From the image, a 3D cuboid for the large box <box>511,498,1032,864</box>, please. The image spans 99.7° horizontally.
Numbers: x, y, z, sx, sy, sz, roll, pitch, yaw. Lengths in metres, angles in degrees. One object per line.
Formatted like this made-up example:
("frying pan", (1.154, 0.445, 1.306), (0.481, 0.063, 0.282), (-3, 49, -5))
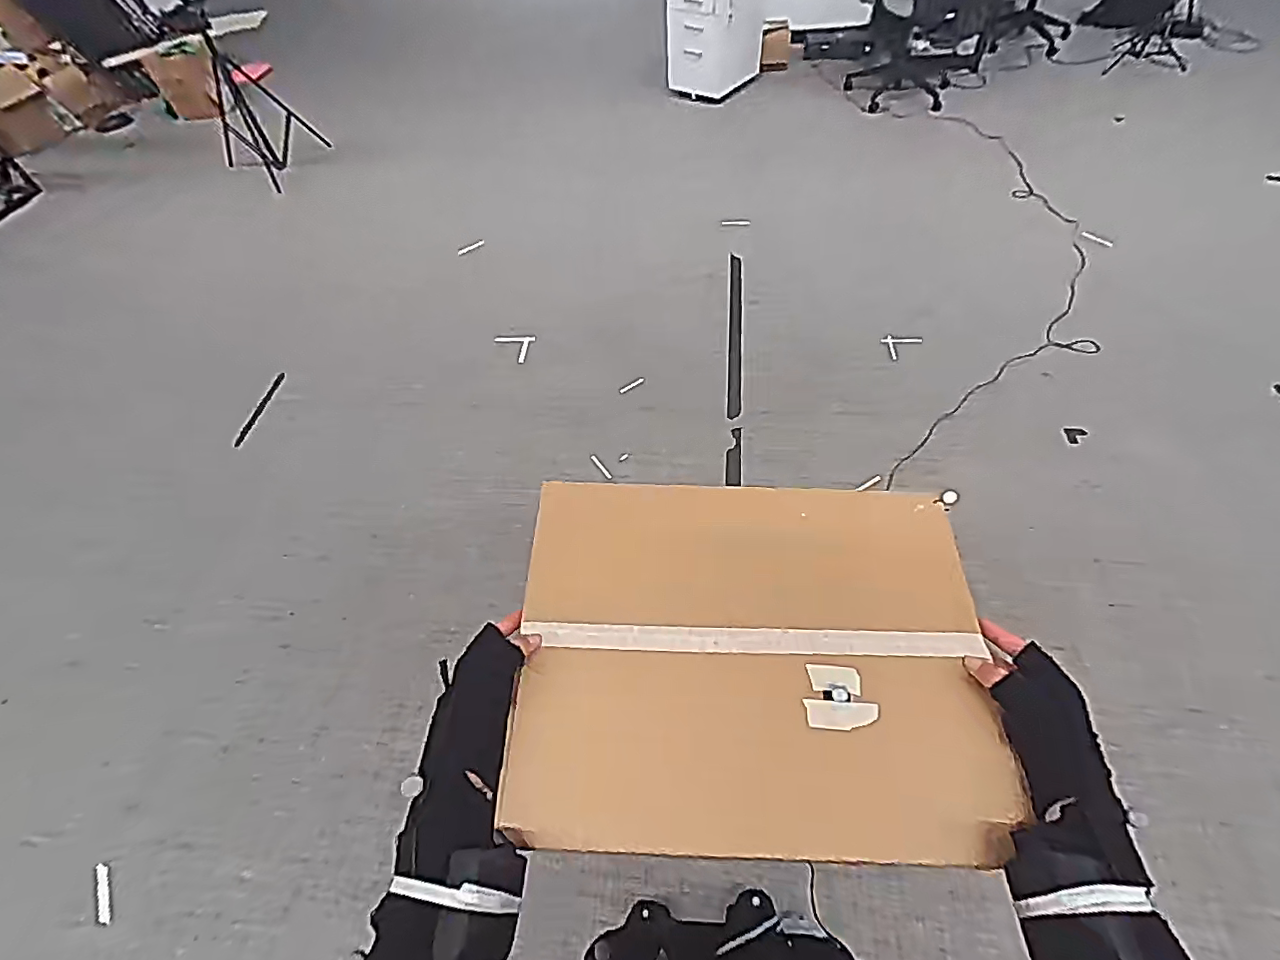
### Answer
("large box", (0.099, 0.230, 0.610), (0.408, 0.320, 0.320), (1, 60, 1))
